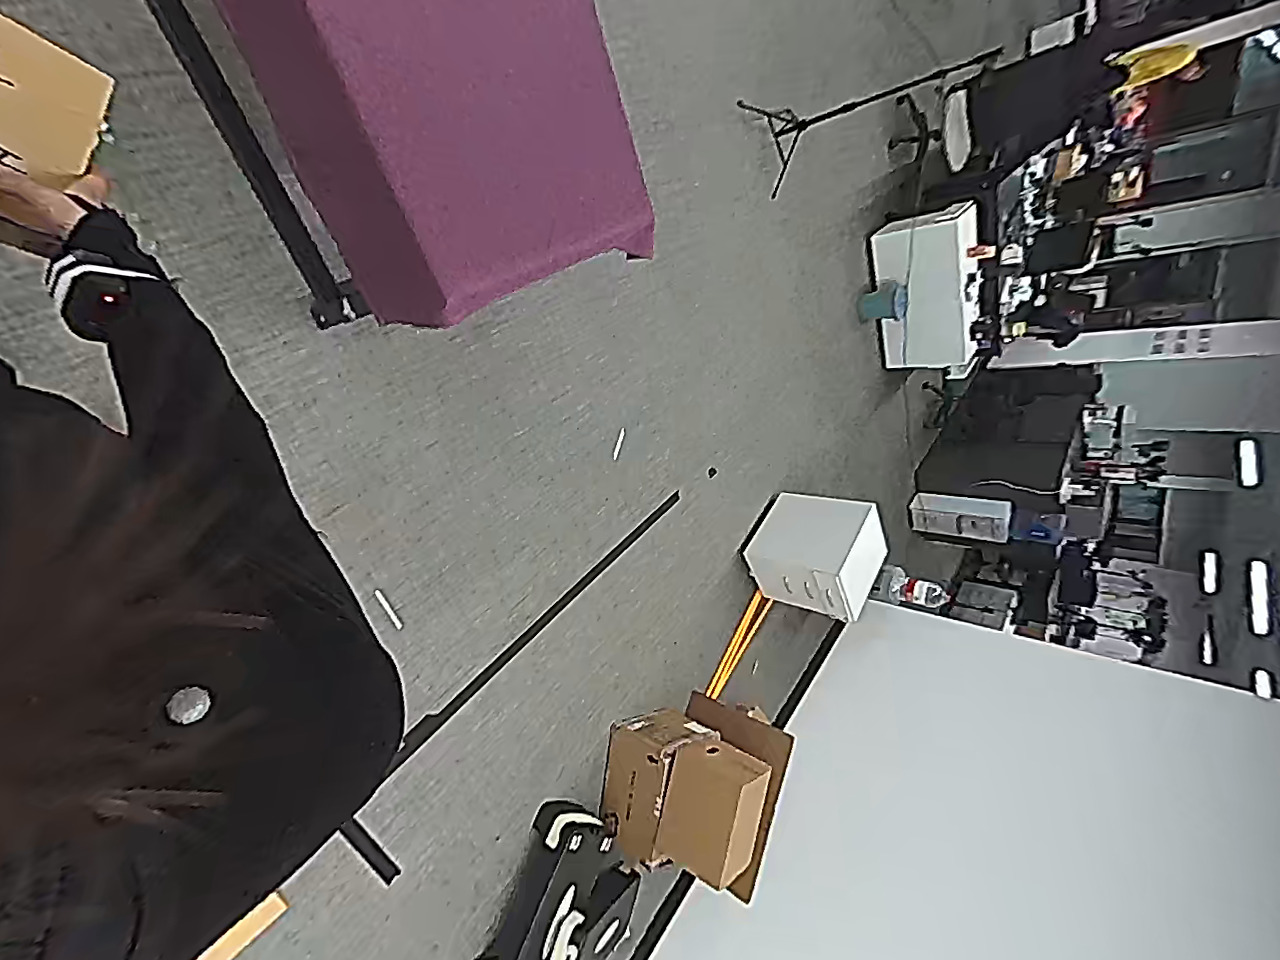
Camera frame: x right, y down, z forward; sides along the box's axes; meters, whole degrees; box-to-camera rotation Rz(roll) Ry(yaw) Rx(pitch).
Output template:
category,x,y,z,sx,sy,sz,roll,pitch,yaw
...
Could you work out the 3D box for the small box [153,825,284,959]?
category,x,y,z,sx,sy,sz,roll,pitch,yaw
small box,-0.941,0.925,1.209,0.168,0.176,0.179,-35,119,-37
